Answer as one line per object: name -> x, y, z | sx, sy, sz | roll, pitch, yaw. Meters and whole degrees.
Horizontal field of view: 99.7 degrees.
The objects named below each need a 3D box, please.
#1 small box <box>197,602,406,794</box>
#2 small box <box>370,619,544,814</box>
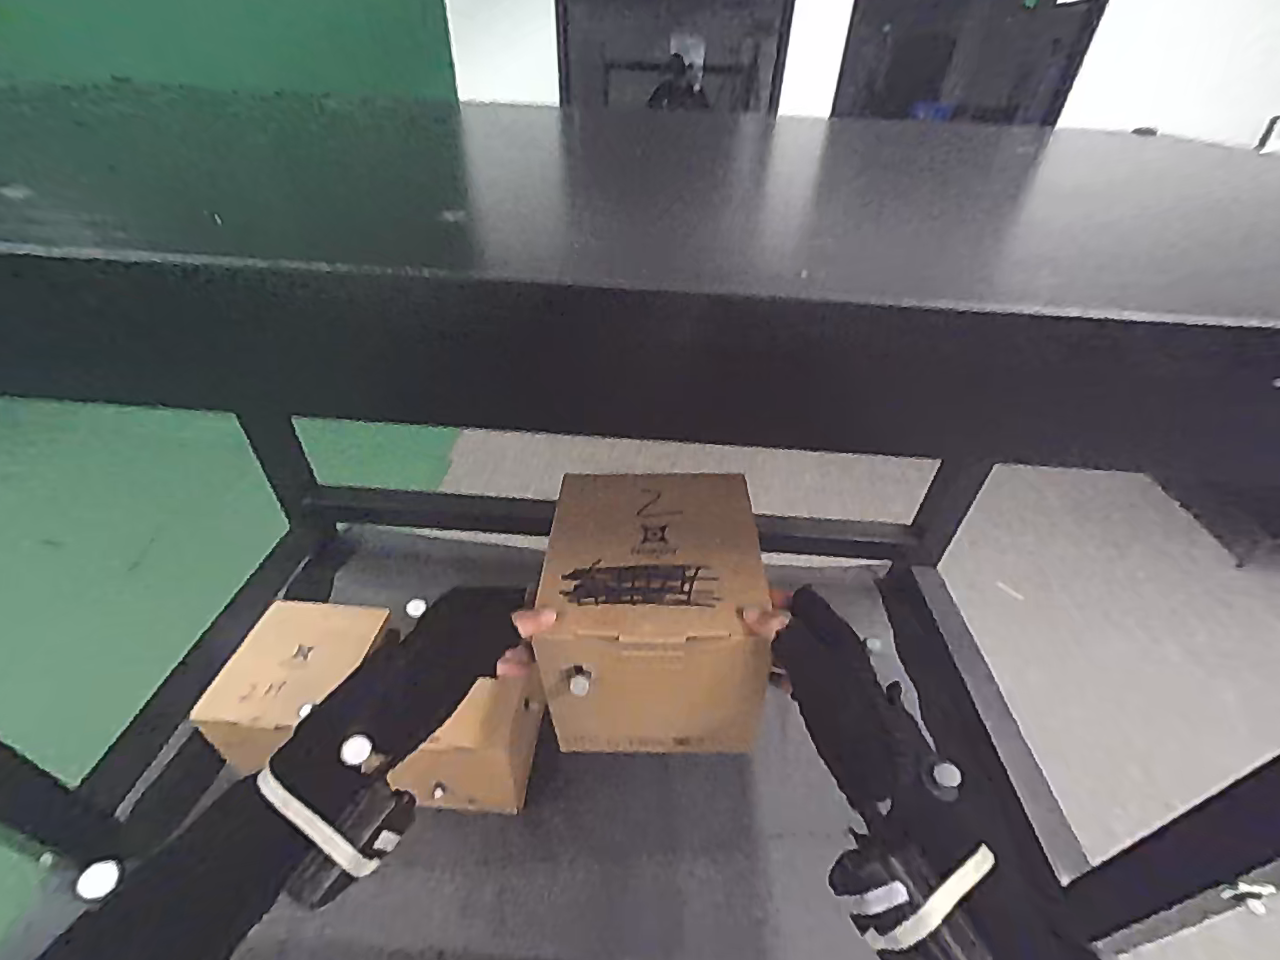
small box -> -0.434, 0.295, 0.740 | 0.168, 0.176, 0.179 | 4, 37, 2
small box -> -0.228, 0.316, 0.730 | 0.168, 0.176, 0.179 | 4, 38, 2
